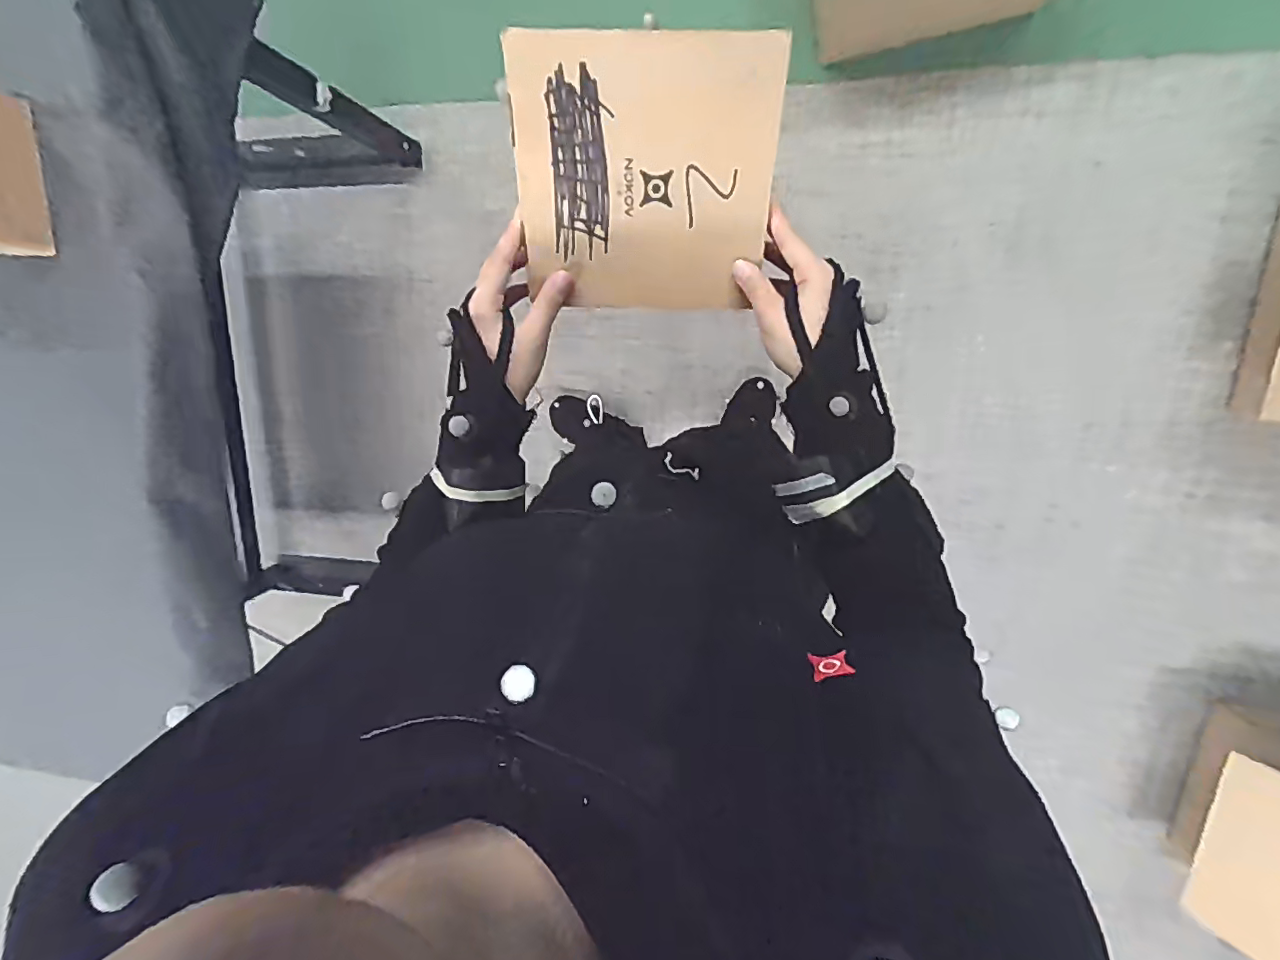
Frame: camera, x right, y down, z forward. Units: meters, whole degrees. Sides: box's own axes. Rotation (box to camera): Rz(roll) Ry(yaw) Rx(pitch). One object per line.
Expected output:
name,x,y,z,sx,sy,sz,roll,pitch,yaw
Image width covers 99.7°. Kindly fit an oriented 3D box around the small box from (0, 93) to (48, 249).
small box,-0.831,-0.365,0.605,0.168,0.176,0.179,6,104,10
